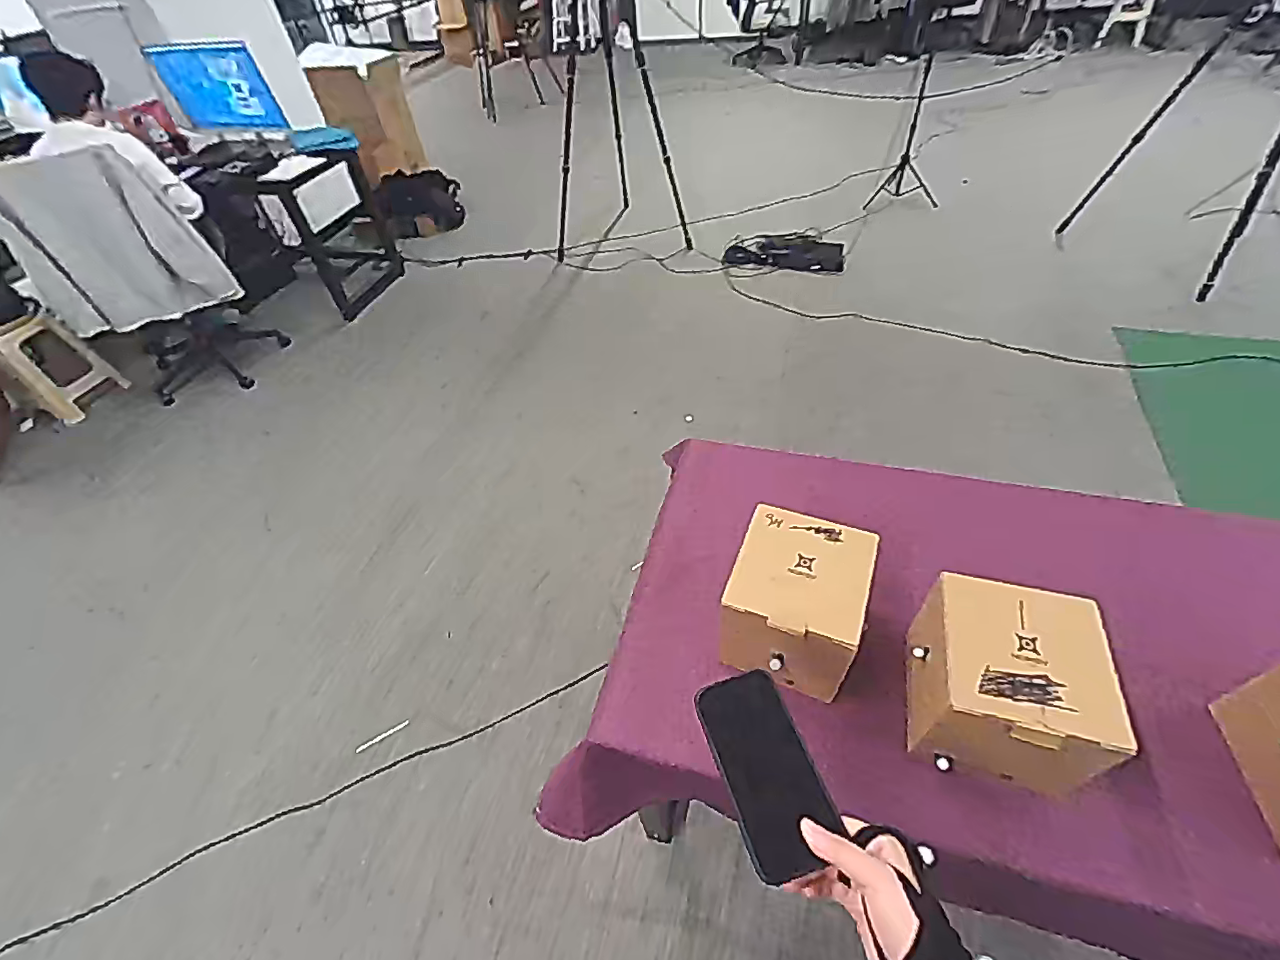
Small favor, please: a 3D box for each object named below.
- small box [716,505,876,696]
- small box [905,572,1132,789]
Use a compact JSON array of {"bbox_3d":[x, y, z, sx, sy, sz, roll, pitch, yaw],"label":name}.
[{"bbox_3d":[0.211,0.169,0.748,0.168,0.176,0.179,15,51,20],"label":"small box"},{"bbox_3d":[0.430,0.243,0.652,0.168,0.176,0.179,9,48,15],"label":"small box"}]
